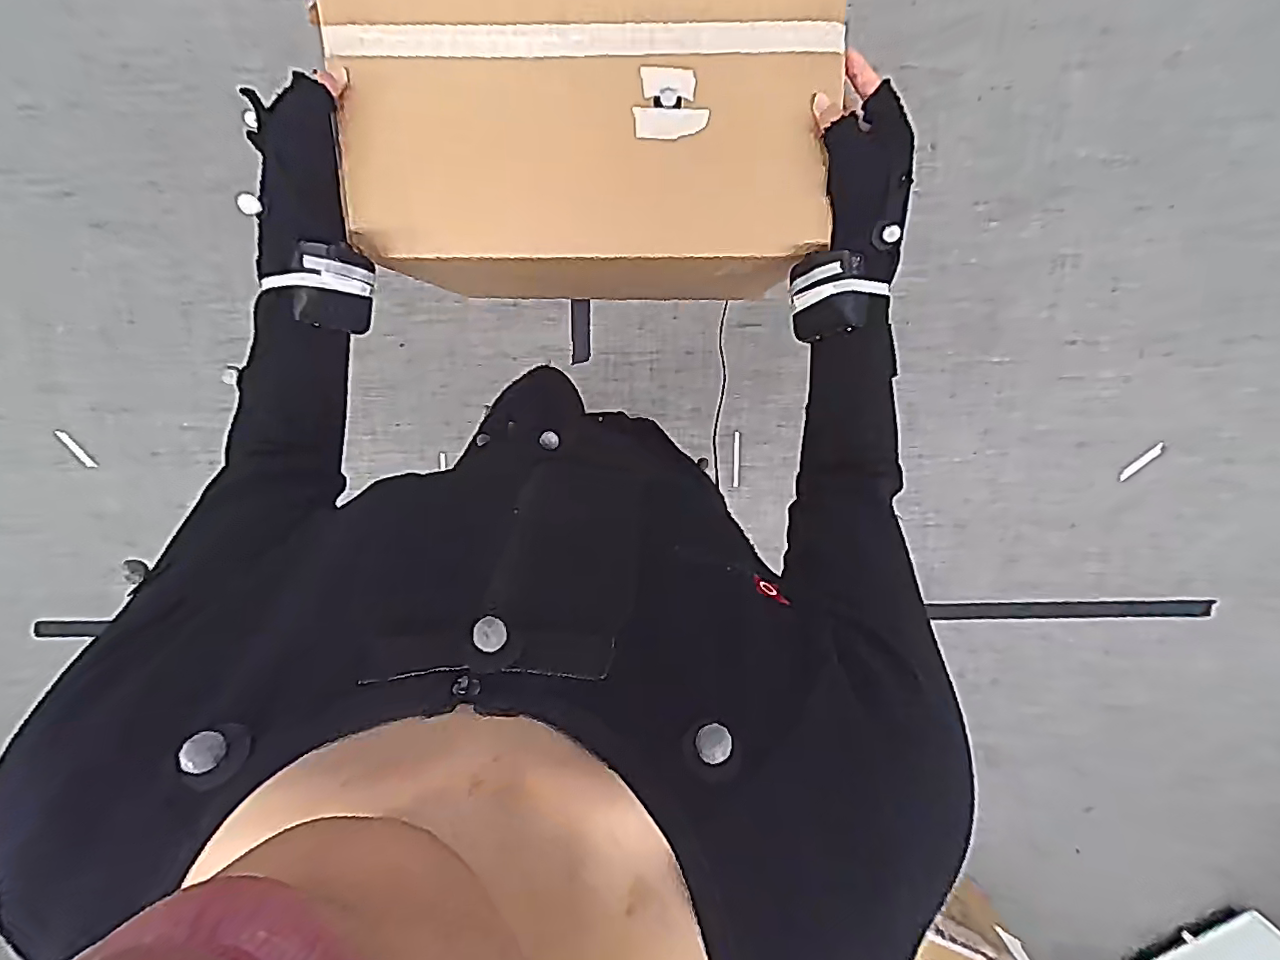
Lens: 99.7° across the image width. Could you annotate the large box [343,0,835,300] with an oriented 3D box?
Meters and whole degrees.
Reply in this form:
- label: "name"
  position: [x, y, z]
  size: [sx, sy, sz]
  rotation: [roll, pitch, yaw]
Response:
- label: "large box"
  position: [-0.043, -0.378, 0.587]
  size: [0.408, 0.320, 0.320]
  rotation: [-1, 103, 0]
